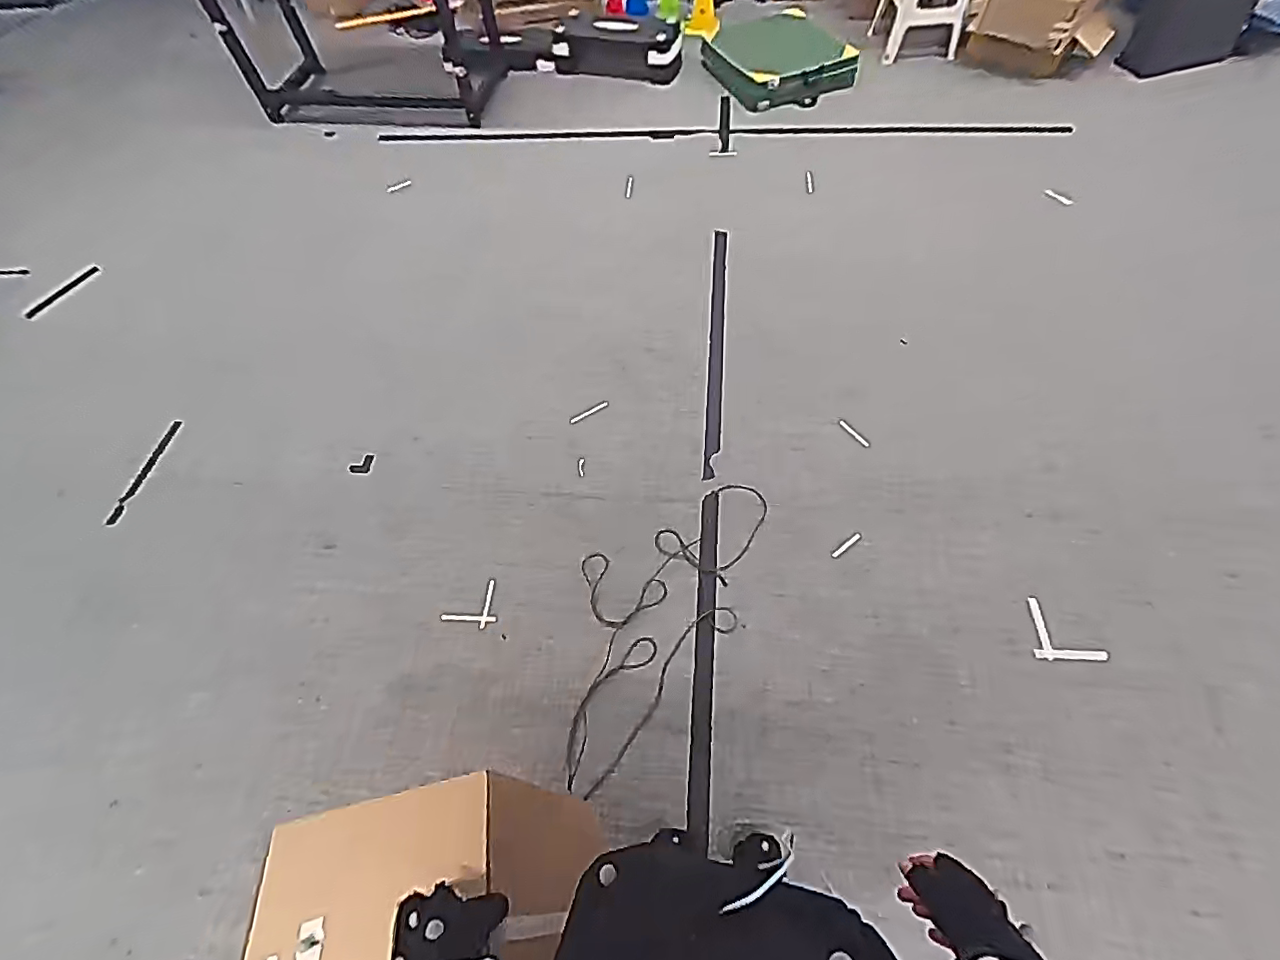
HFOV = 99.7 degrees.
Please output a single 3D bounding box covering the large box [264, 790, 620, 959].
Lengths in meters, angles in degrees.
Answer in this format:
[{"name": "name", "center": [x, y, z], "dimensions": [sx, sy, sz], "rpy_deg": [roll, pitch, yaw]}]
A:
[{"name": "large box", "center": [-0.241, 0.656, 0.743], "dimensions": [0.320, 0.408, 0.320], "rpy_deg": [-17, 51, 7]}]
